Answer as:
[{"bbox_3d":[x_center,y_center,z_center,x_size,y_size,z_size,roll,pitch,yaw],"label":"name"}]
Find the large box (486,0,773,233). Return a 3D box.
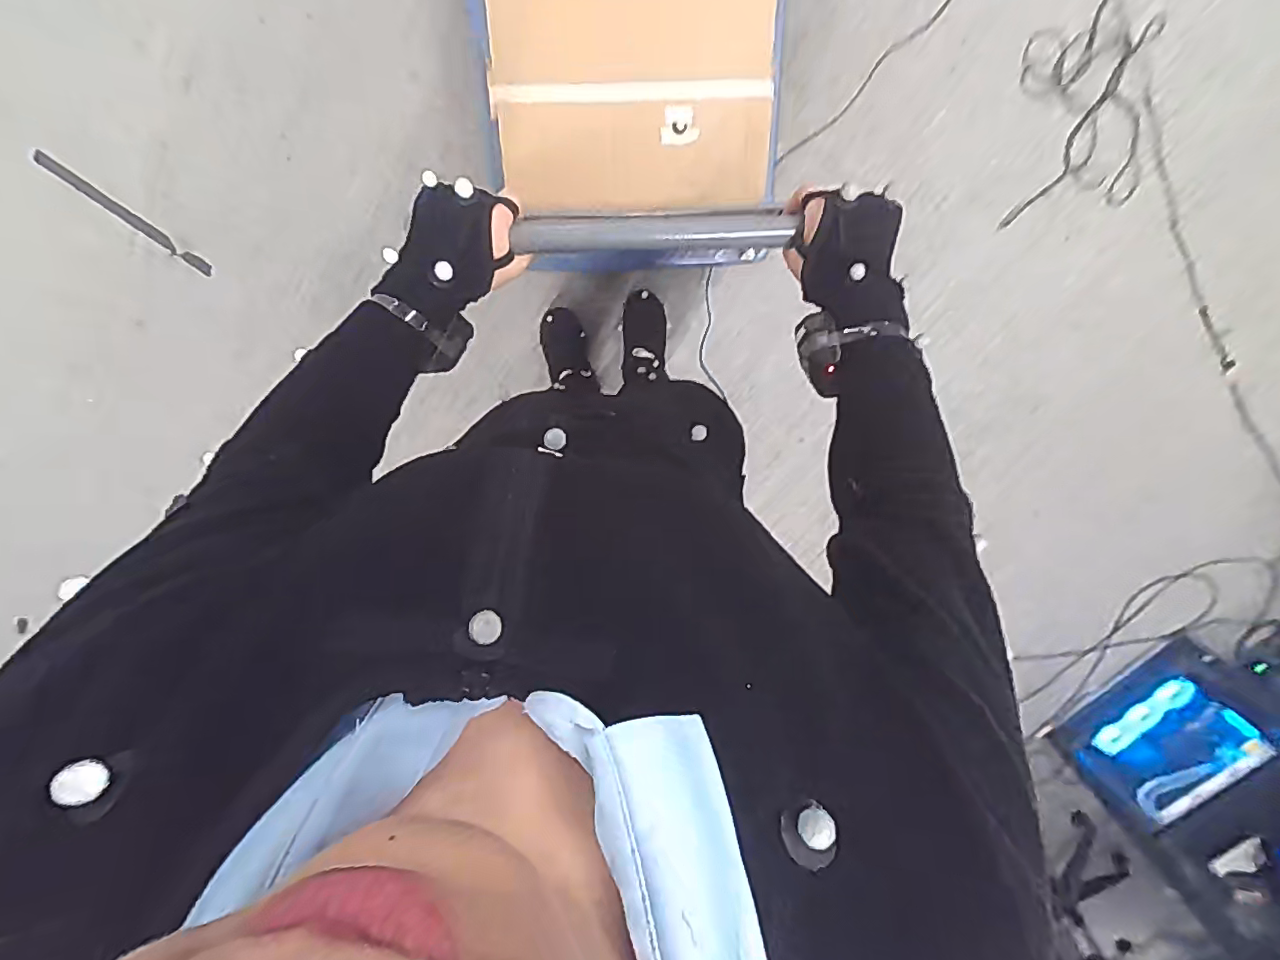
[{"bbox_3d":[-0.016,-0.608,0.931,0.408,0.320,0.320,-2,114,-2],"label":"large box"}]
